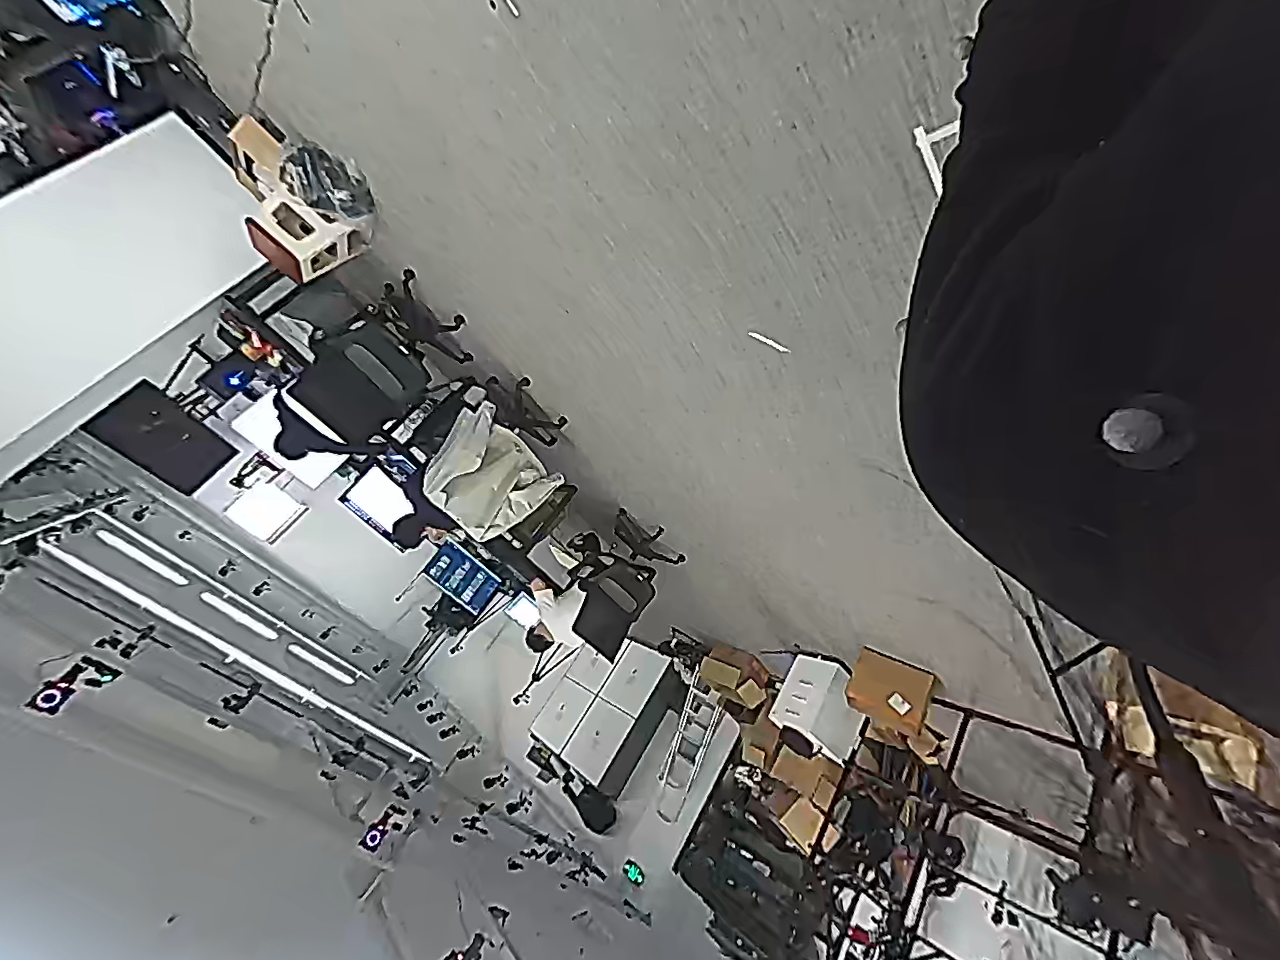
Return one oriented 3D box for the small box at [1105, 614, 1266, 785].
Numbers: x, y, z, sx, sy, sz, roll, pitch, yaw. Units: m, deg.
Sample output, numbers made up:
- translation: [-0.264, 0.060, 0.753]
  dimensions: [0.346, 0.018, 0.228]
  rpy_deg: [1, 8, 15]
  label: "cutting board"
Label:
- translation: [0.873, 0.341, 0.869]
  dimensions: [0.168, 0.176, 0.179]
  rpy_deg: [5, 141, 50]
  label: "small box"
